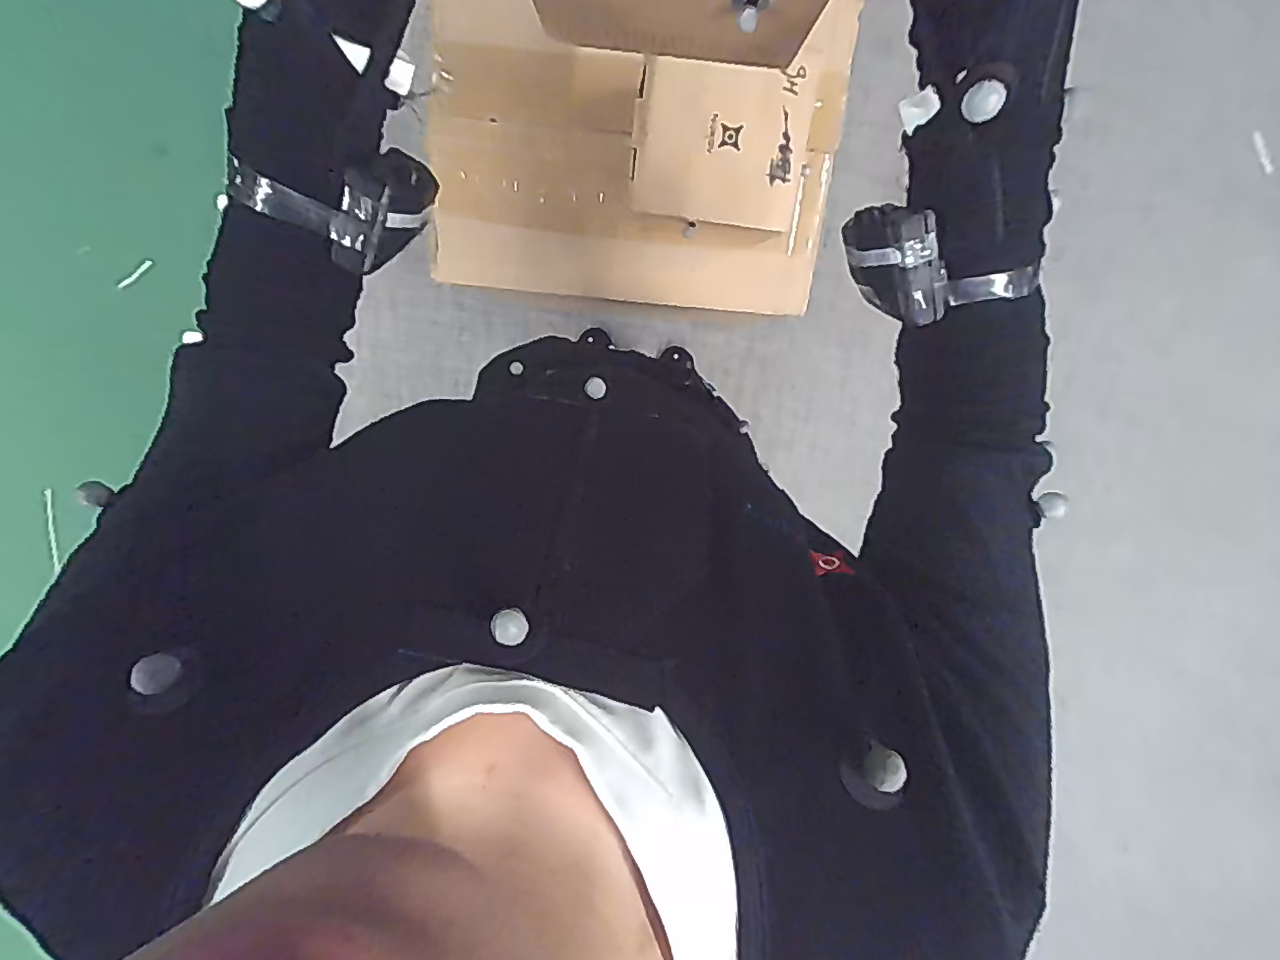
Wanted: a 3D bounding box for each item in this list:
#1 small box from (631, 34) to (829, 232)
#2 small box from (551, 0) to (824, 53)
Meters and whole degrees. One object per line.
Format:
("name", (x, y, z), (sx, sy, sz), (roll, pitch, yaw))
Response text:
("small box", (0.091, -0.390, 0.624), (0.179, 0.176, 0.168), (8, 110, 0))
("small box", (0.034, -0.360, 0.285), (0.179, 0.176, 0.168), (5, 107, 0))
